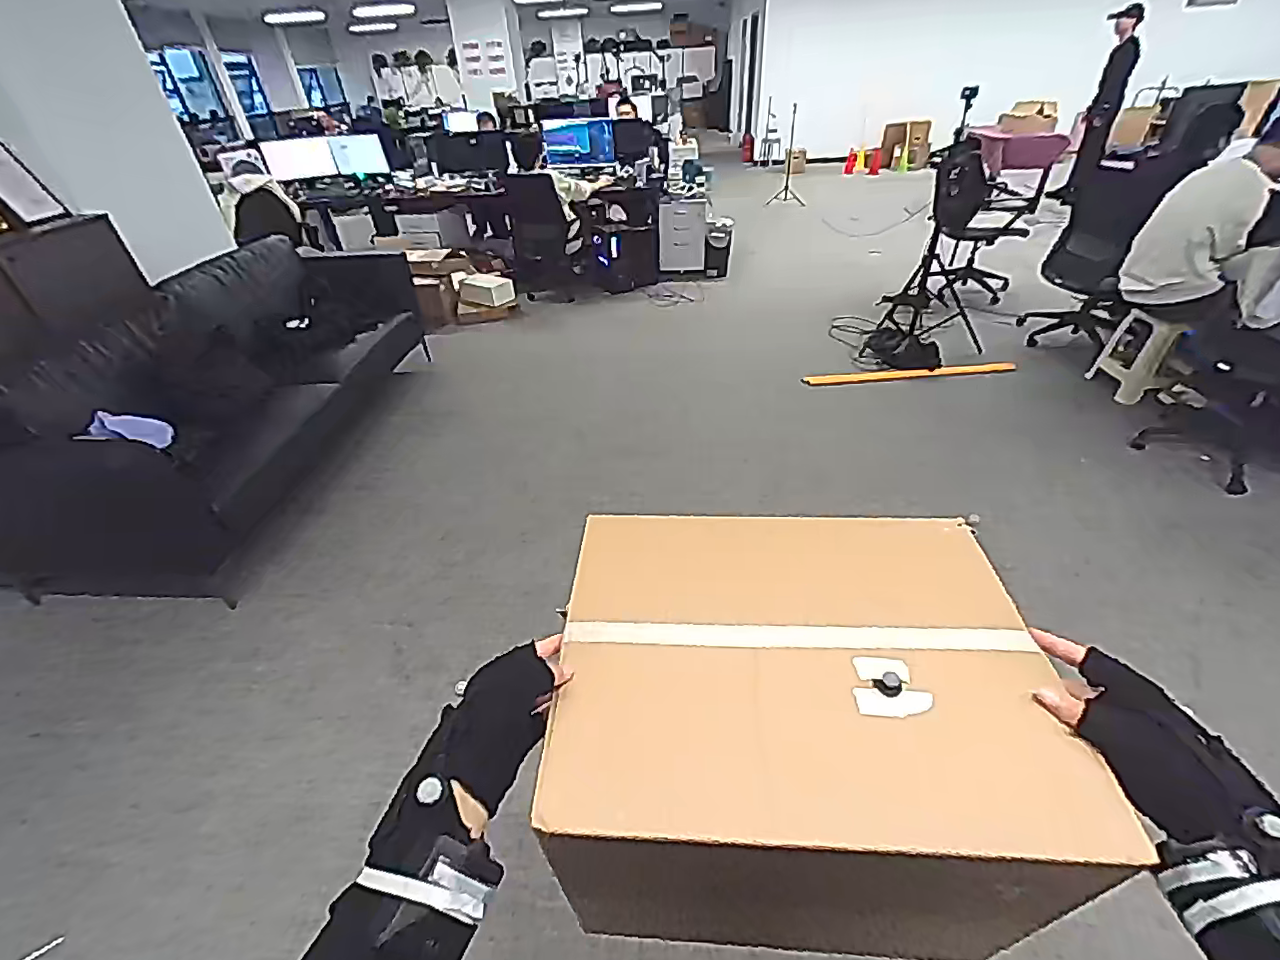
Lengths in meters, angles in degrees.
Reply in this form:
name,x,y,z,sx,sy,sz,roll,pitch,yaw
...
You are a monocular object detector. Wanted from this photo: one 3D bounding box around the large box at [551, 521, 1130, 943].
name,x,y,z,sx,sy,sz,roll,pitch,yaw
large box,0.145,0.259,0.580,0.408,0.320,0.320,0,40,5
